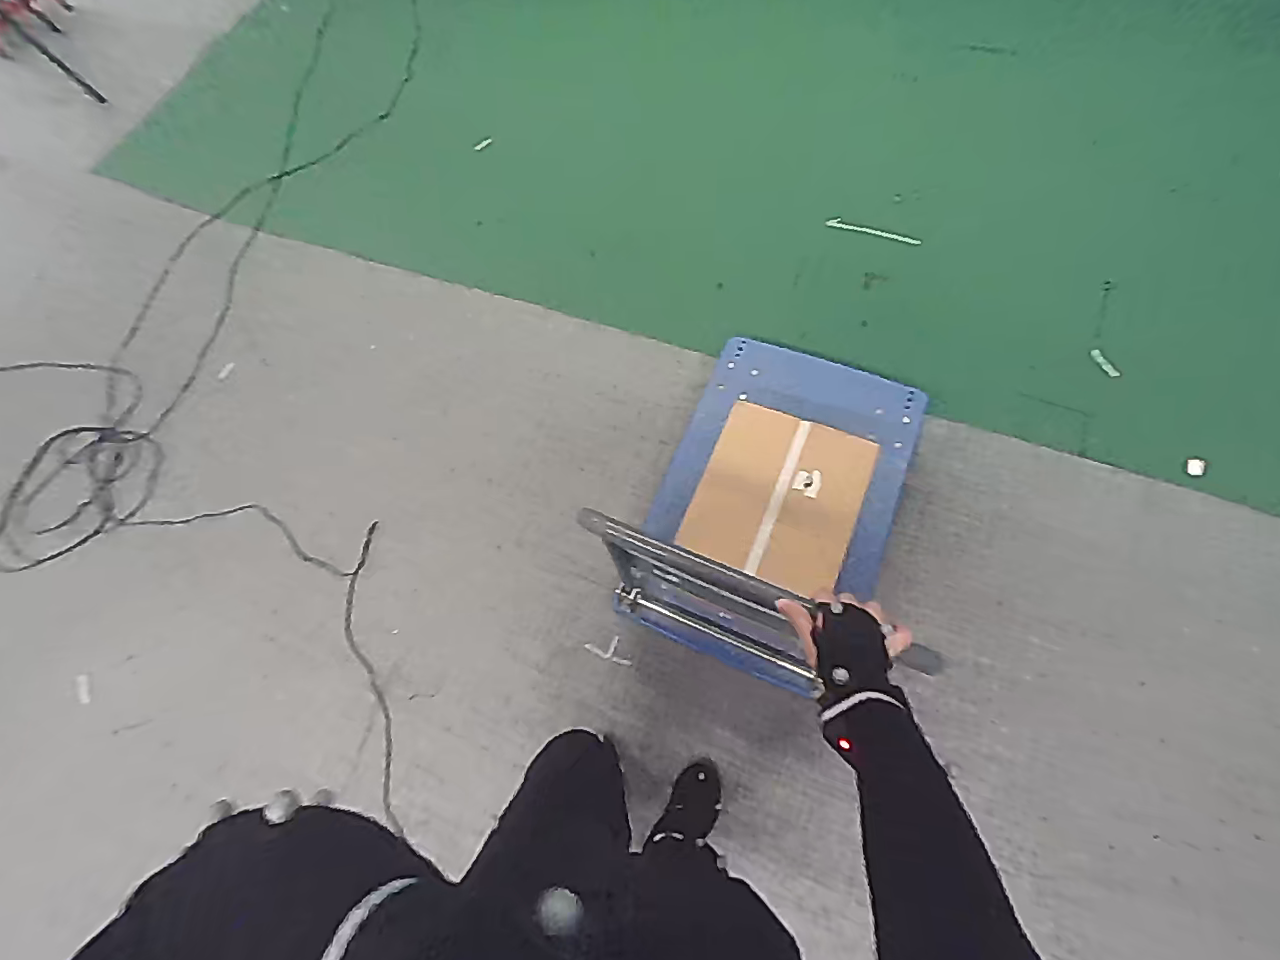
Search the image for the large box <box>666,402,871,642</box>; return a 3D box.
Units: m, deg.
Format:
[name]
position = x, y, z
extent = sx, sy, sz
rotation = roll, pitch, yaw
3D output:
[large box]
position = 0.280, 0.105, 1.222
extent = 0.320, 0.320, 0.408
rotation = 20, 71, 14
